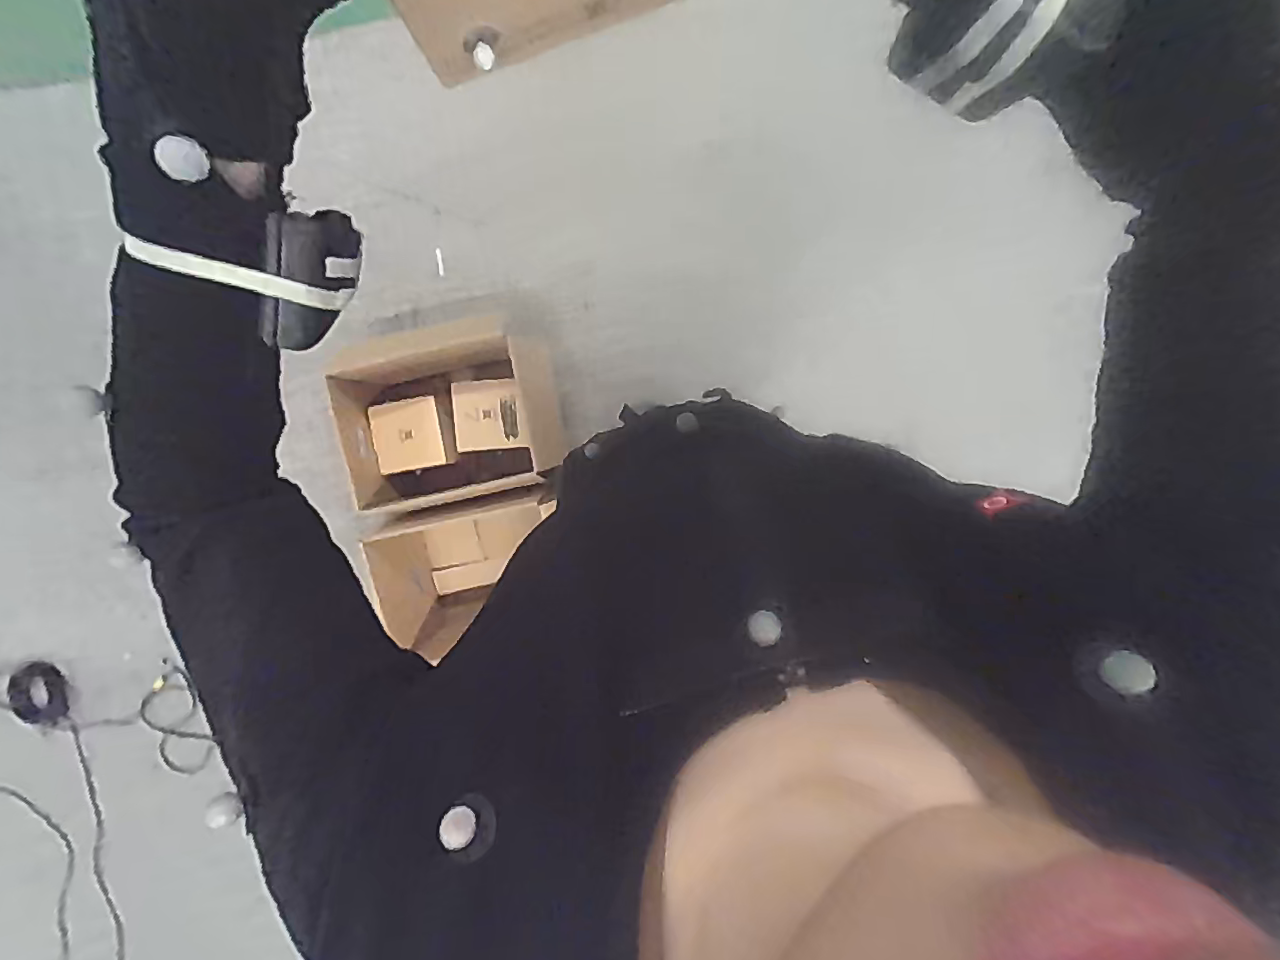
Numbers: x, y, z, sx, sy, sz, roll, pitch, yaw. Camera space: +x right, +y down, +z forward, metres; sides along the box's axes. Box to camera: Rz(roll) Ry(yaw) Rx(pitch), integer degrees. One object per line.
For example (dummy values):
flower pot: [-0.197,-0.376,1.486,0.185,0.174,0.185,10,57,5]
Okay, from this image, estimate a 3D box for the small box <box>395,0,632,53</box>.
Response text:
small box: [-0.075,-0.340,0.239,0.168,0.176,0.179,-19,96,2]
